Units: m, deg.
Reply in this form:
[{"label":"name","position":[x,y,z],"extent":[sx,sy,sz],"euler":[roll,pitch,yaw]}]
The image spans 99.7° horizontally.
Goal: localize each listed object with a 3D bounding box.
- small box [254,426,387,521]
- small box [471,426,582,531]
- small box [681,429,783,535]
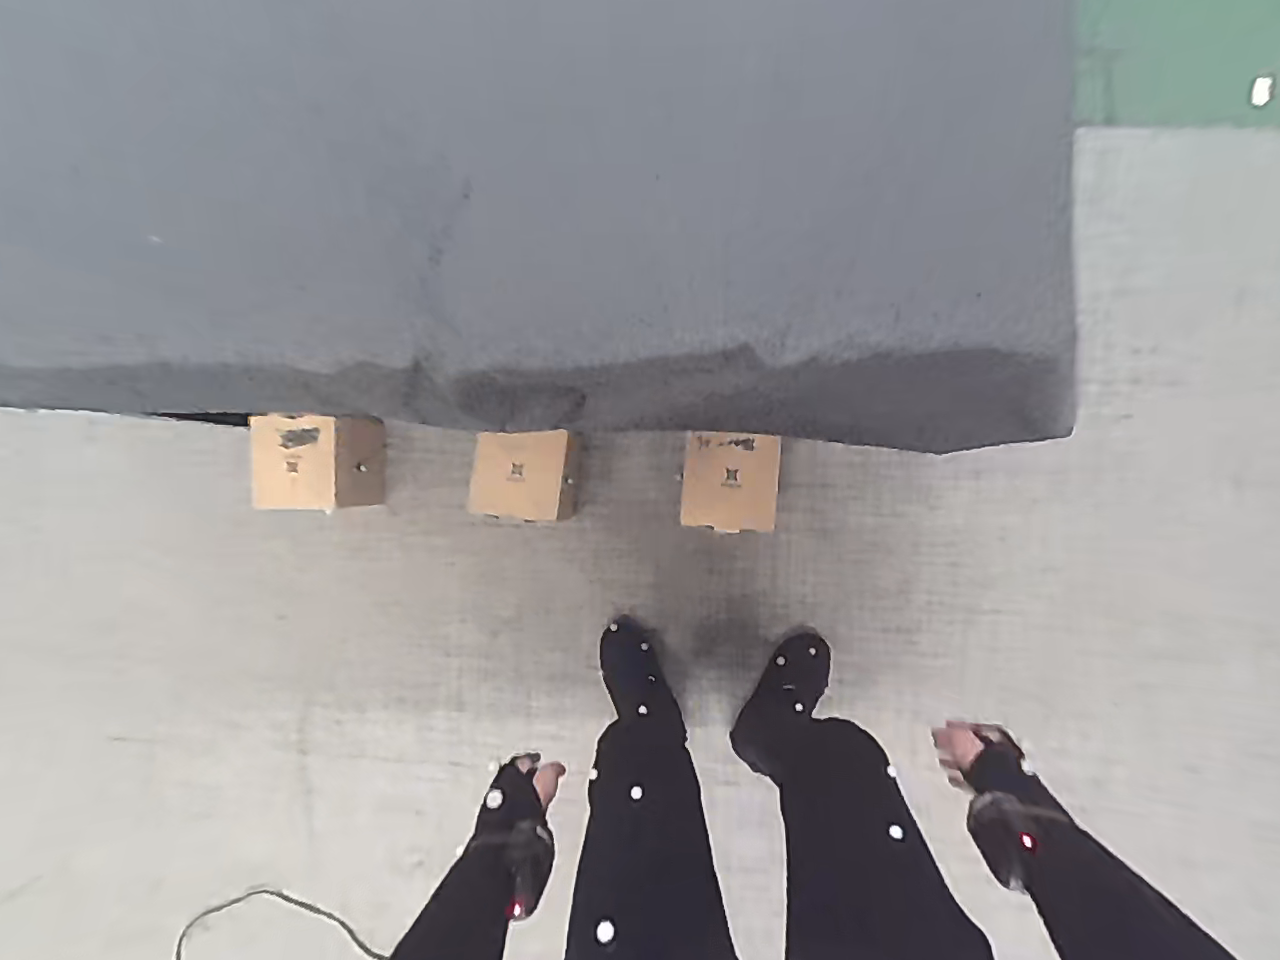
[{"label":"small box","position":[-0.624,-0.011,1.073],"extent":[0.168,0.176,0.179],"euler":[-1,91,5]},{"label":"small box","position":[-0.211,-0.003,1.046],"extent":[0.168,0.176,0.179],"euler":[5,89,3]},{"label":"small box","position":[0.167,0.003,1.019],"extent":[0.168,0.176,0.179],"euler":[4,89,4]}]
